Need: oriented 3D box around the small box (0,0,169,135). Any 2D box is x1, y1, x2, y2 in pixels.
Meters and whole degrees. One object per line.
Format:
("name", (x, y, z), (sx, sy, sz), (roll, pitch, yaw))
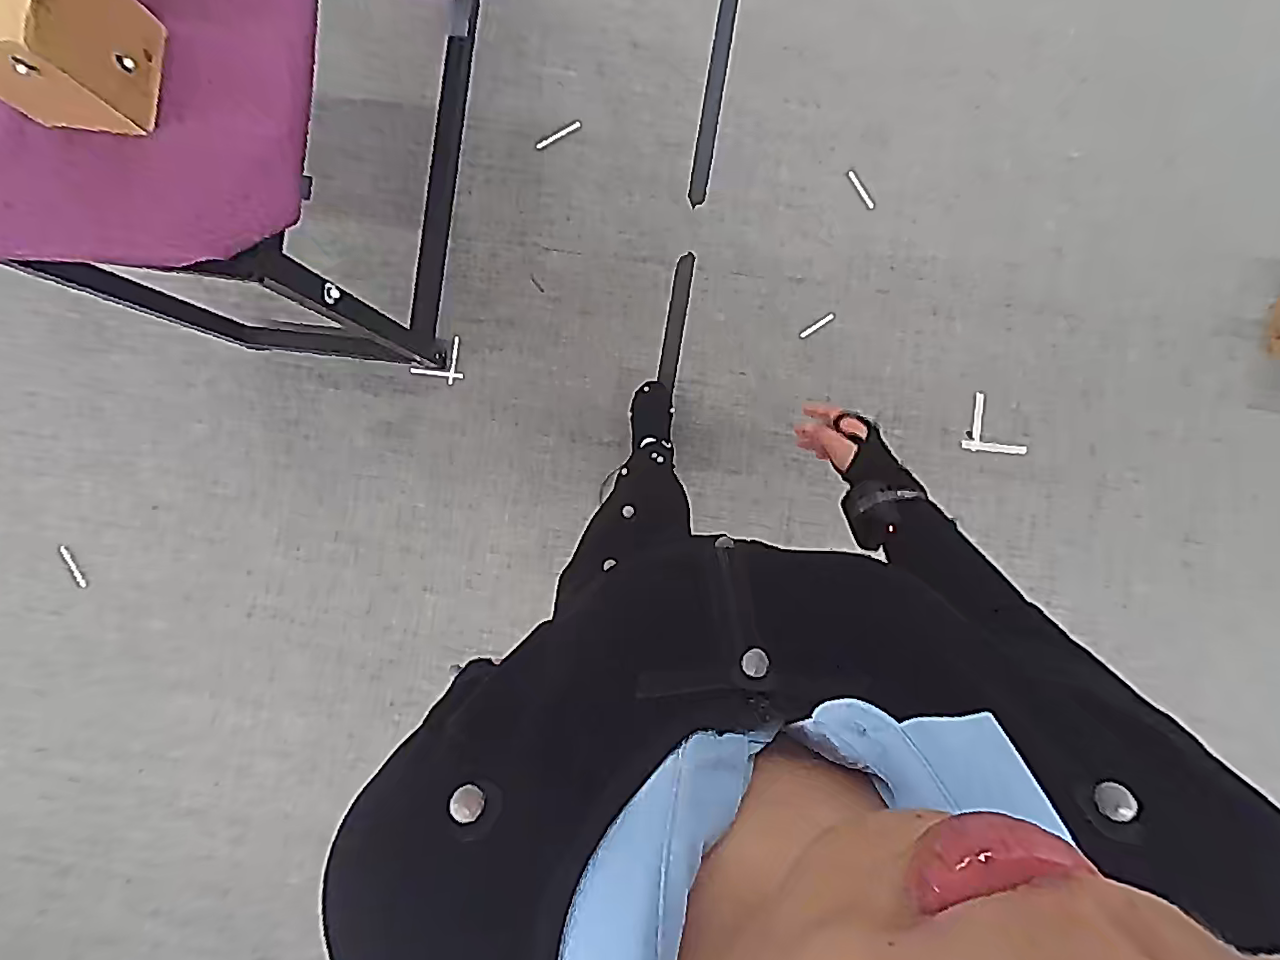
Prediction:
("small box", (-0.804, -0.603, 0.732), (0.179, 0.176, 0.168), (6, 89, 1))
